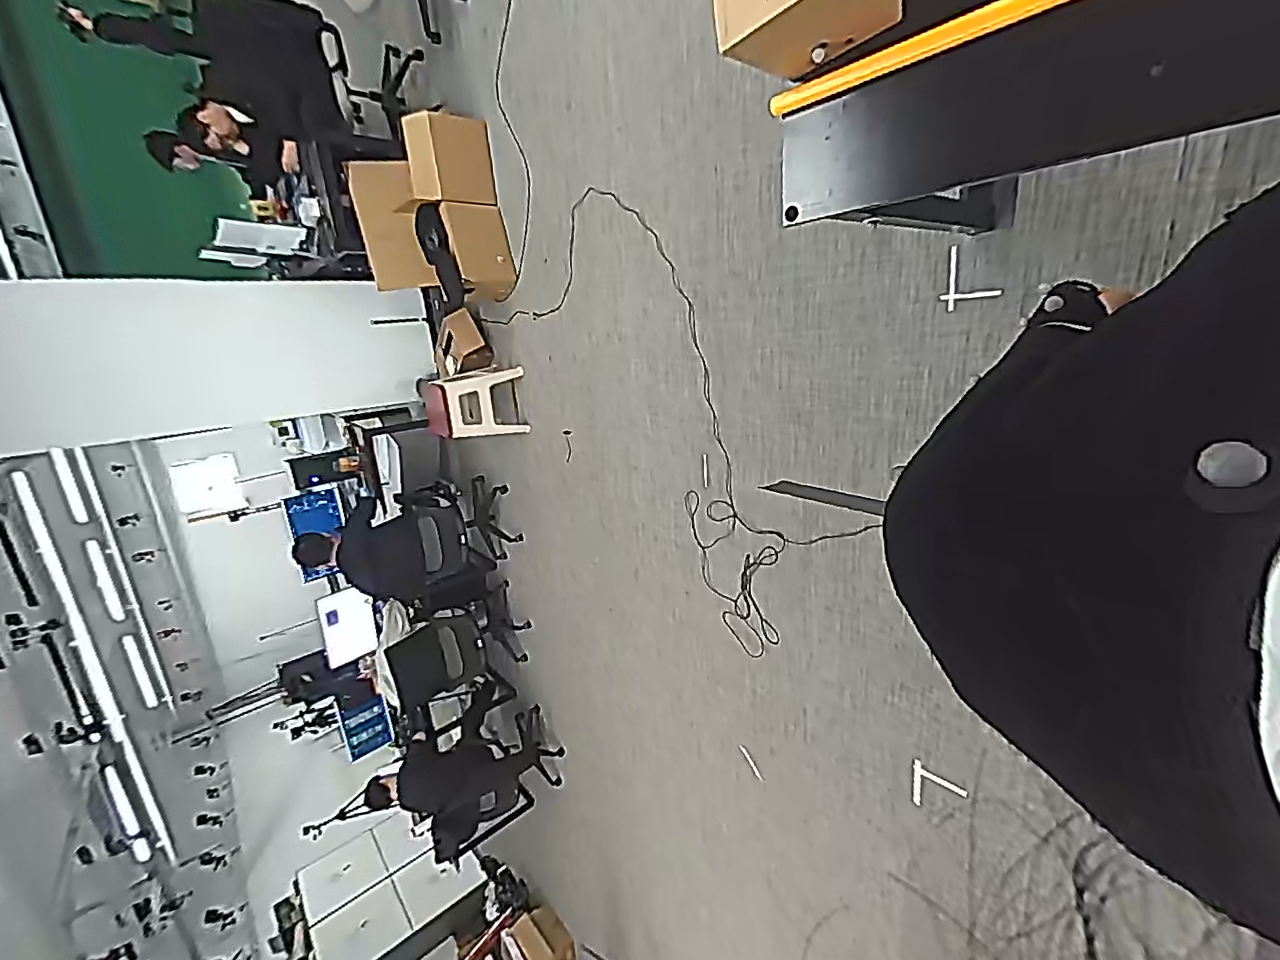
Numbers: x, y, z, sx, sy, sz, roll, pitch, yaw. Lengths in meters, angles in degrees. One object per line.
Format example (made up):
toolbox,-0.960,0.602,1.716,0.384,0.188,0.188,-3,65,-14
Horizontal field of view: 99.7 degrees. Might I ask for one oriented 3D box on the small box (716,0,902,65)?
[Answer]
small box,0.206,-0.659,0.664,0.168,0.176,0.179,9,111,50
